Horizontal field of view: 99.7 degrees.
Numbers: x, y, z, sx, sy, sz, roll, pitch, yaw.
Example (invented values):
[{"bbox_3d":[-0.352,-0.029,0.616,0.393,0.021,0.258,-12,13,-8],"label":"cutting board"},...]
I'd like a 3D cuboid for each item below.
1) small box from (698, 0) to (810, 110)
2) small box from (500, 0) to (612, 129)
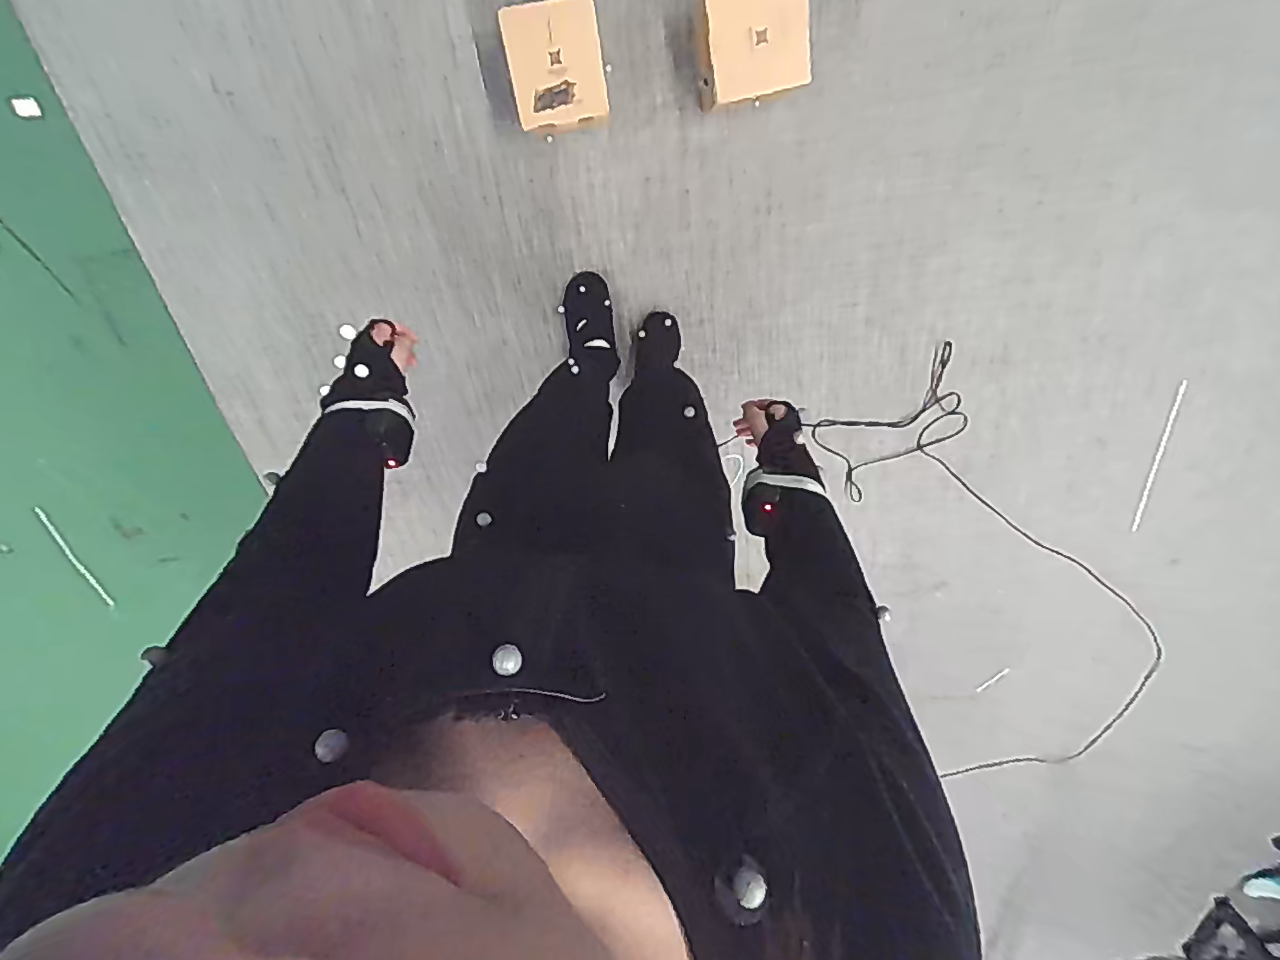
[{"bbox_3d":[0.205,-0.808,1.007,0.179,0.176,0.168,-10,120,4],"label":"small box"},{"bbox_3d":[-0.147,-0.773,1.015,0.168,0.176,0.179,-8,118,3],"label":"small box"}]
